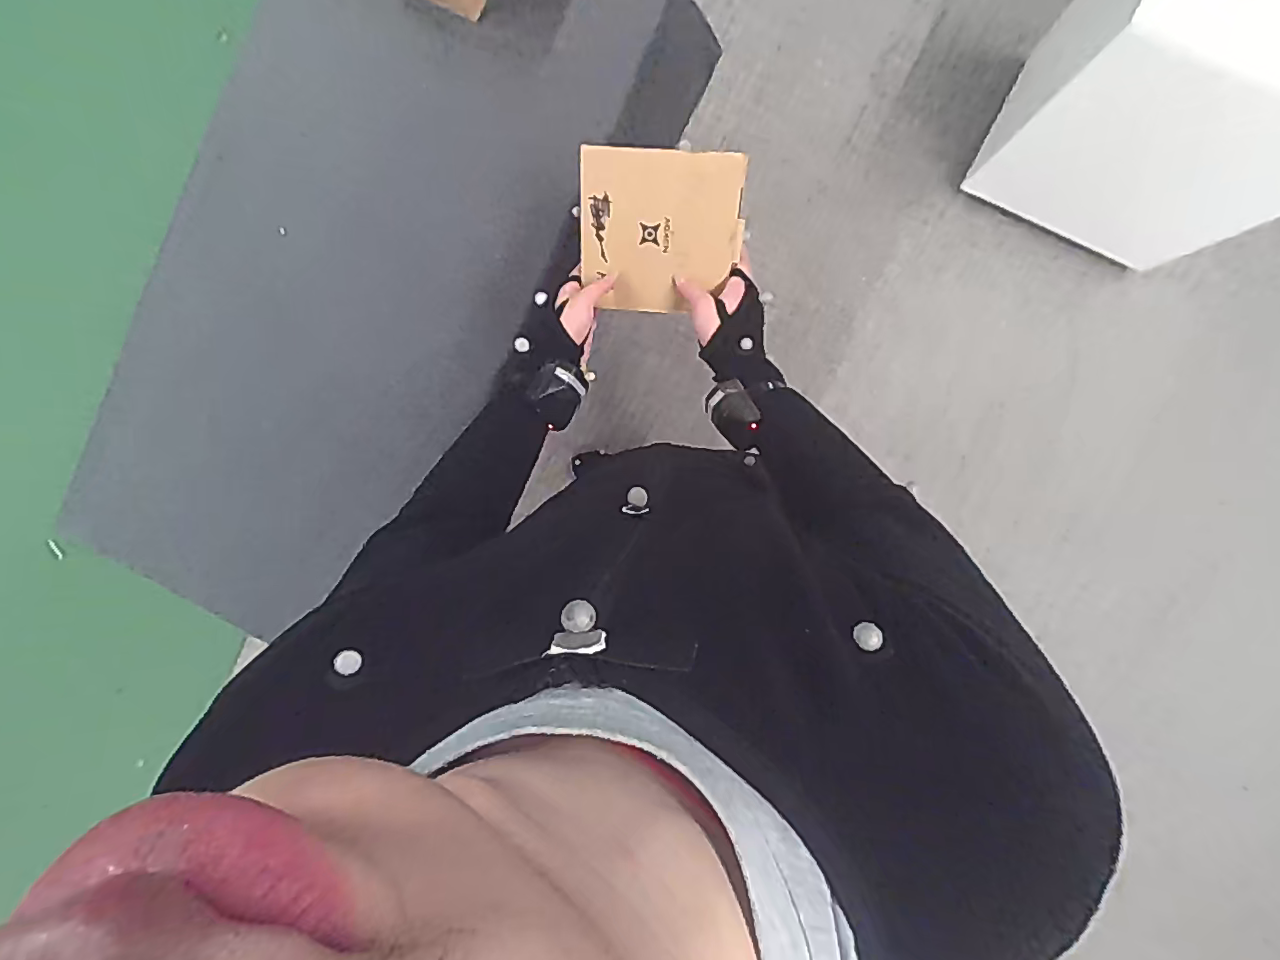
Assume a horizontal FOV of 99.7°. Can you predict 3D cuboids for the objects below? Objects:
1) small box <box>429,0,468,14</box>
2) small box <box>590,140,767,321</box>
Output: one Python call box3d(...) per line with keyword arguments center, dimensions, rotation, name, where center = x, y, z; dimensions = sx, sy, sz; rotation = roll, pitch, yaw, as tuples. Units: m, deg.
box3d(center=(-0.298, -0.786, 0.714), dimensions=(0.168, 0.176, 0.179), rotation=(27, 92, 1), name="small box")
box3d(center=(0.041, -0.296, 0.645), dimensions=(0.179, 0.176, 0.168), rotation=(6, 117, 2), name="small box")
